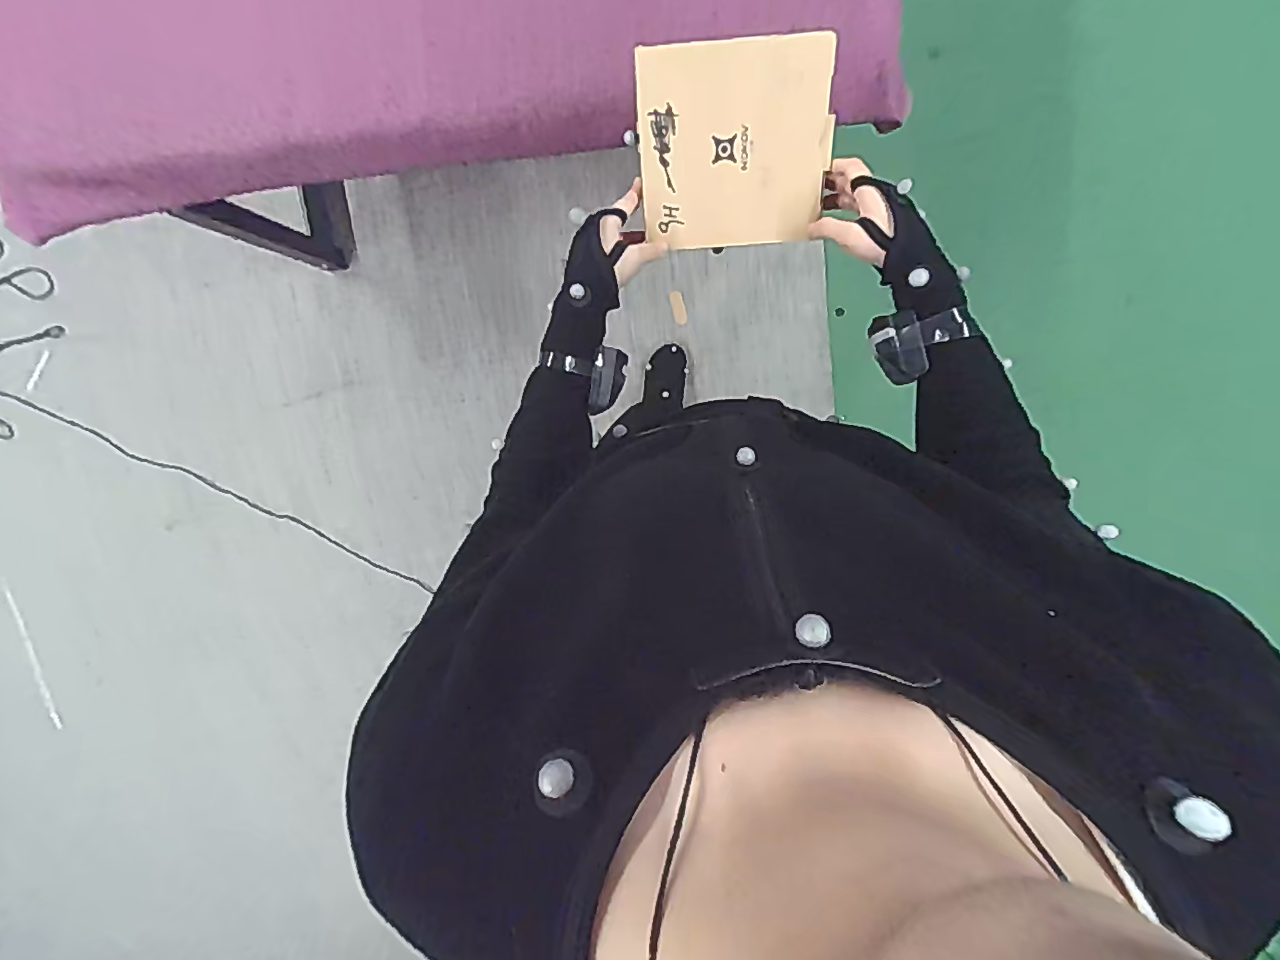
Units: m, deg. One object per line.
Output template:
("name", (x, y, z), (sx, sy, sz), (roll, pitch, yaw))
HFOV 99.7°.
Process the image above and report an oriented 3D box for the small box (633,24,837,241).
("small box", (0.083, -0.346, 0.562), (0.179, 0.176, 0.168), (-2, 117, 2))
